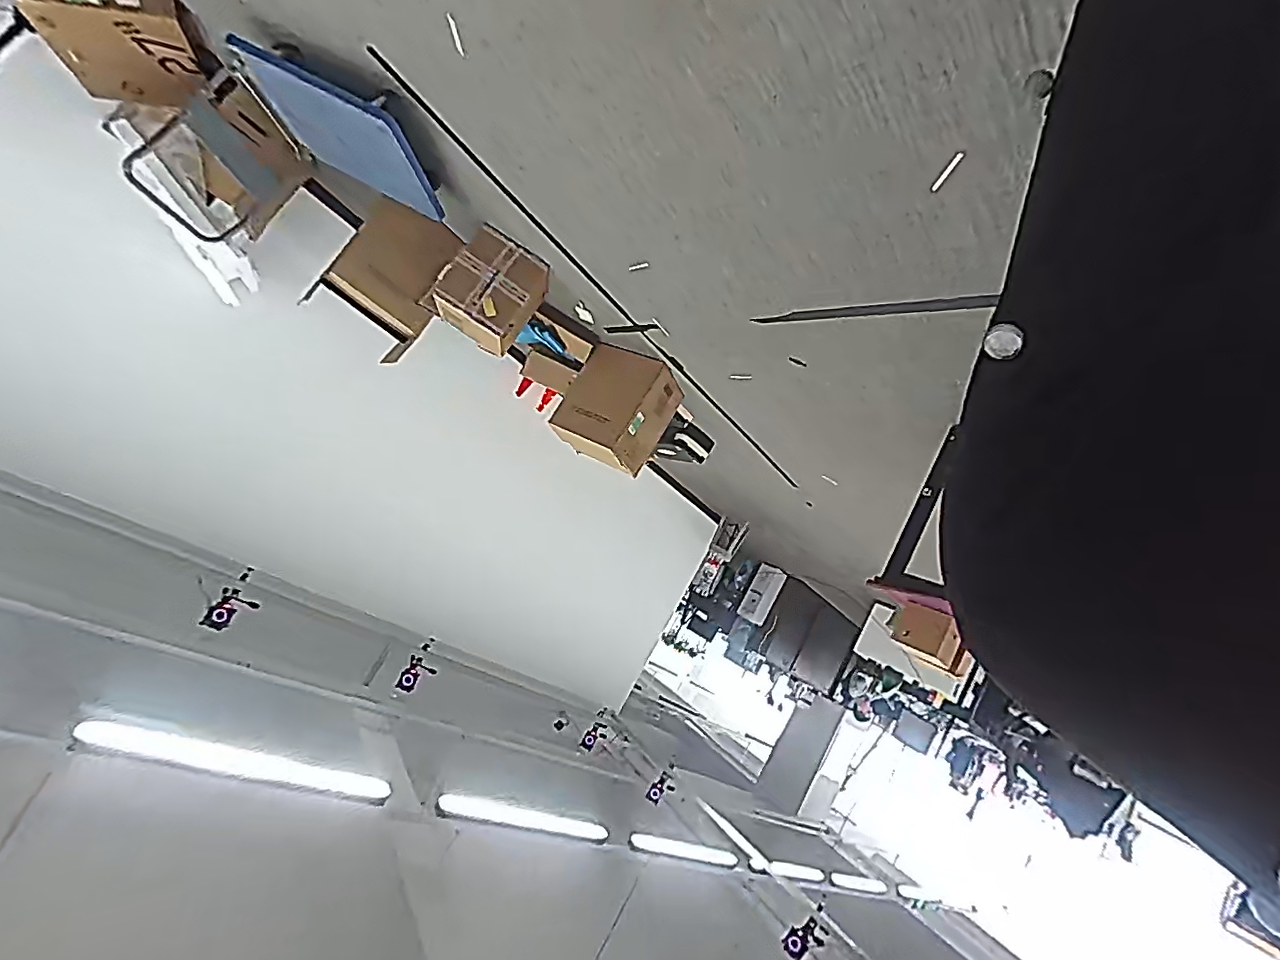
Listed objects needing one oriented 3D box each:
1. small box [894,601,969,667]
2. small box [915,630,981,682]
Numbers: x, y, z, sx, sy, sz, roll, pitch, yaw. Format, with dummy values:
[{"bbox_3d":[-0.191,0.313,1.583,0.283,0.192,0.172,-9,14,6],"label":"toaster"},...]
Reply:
[{"bbox_3d":[1.108,0.576,2.052,0.168,0.176,0.179,36,168,-37],"label":"small box"},{"bbox_3d":[1.239,0.677,2.166,0.179,0.176,0.168,21,164,48],"label":"small box"}]
